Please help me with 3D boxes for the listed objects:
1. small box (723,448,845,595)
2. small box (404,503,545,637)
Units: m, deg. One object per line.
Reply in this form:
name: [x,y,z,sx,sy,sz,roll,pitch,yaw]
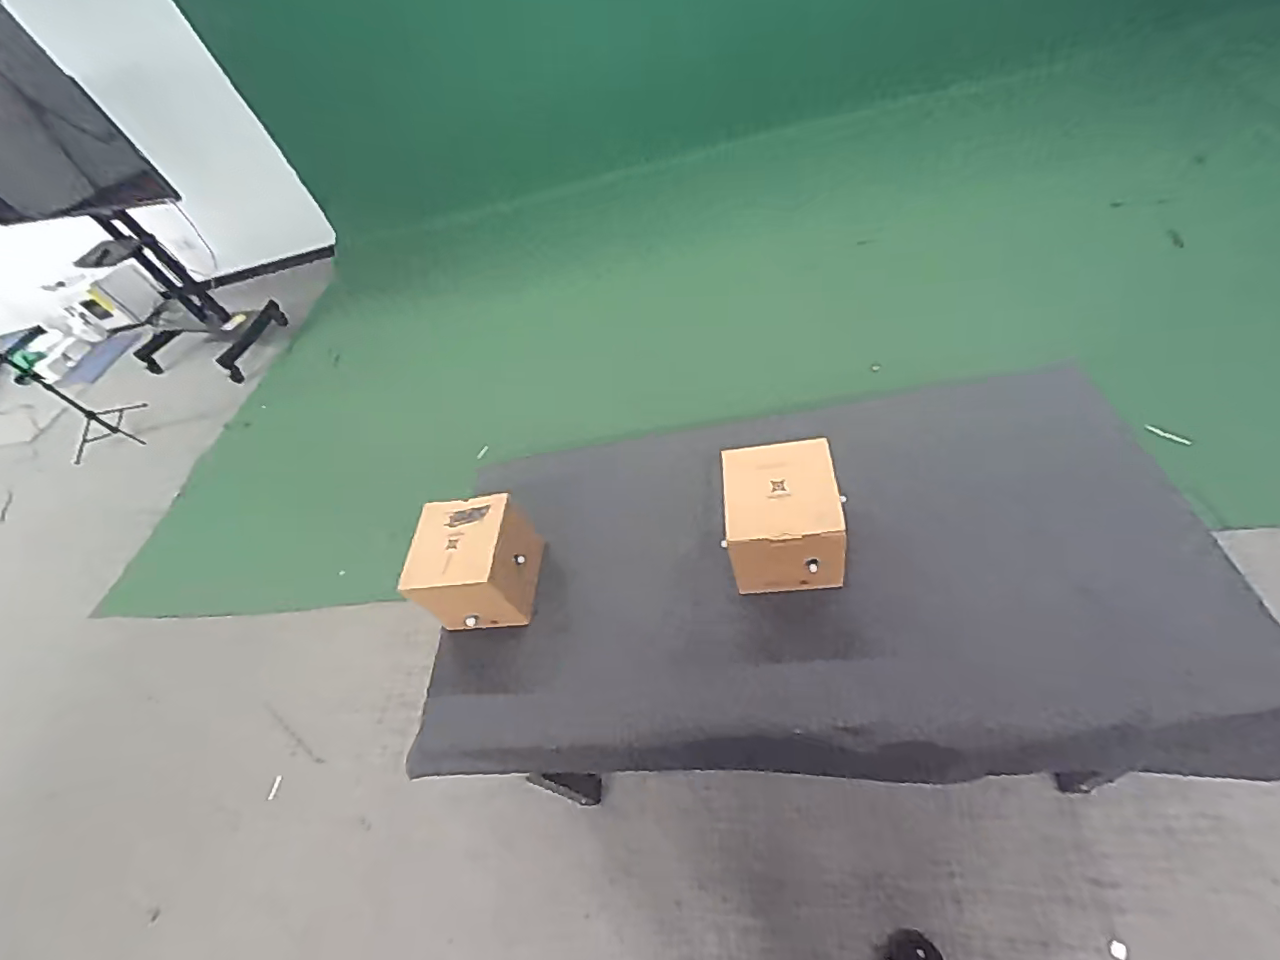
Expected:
small box: [0.230,0.076,0.877,0.168,0.176,0.179,-7,50,12]
small box: [-0.284,0.166,0.974,0.168,0.176,0.179,-8,51,13]
